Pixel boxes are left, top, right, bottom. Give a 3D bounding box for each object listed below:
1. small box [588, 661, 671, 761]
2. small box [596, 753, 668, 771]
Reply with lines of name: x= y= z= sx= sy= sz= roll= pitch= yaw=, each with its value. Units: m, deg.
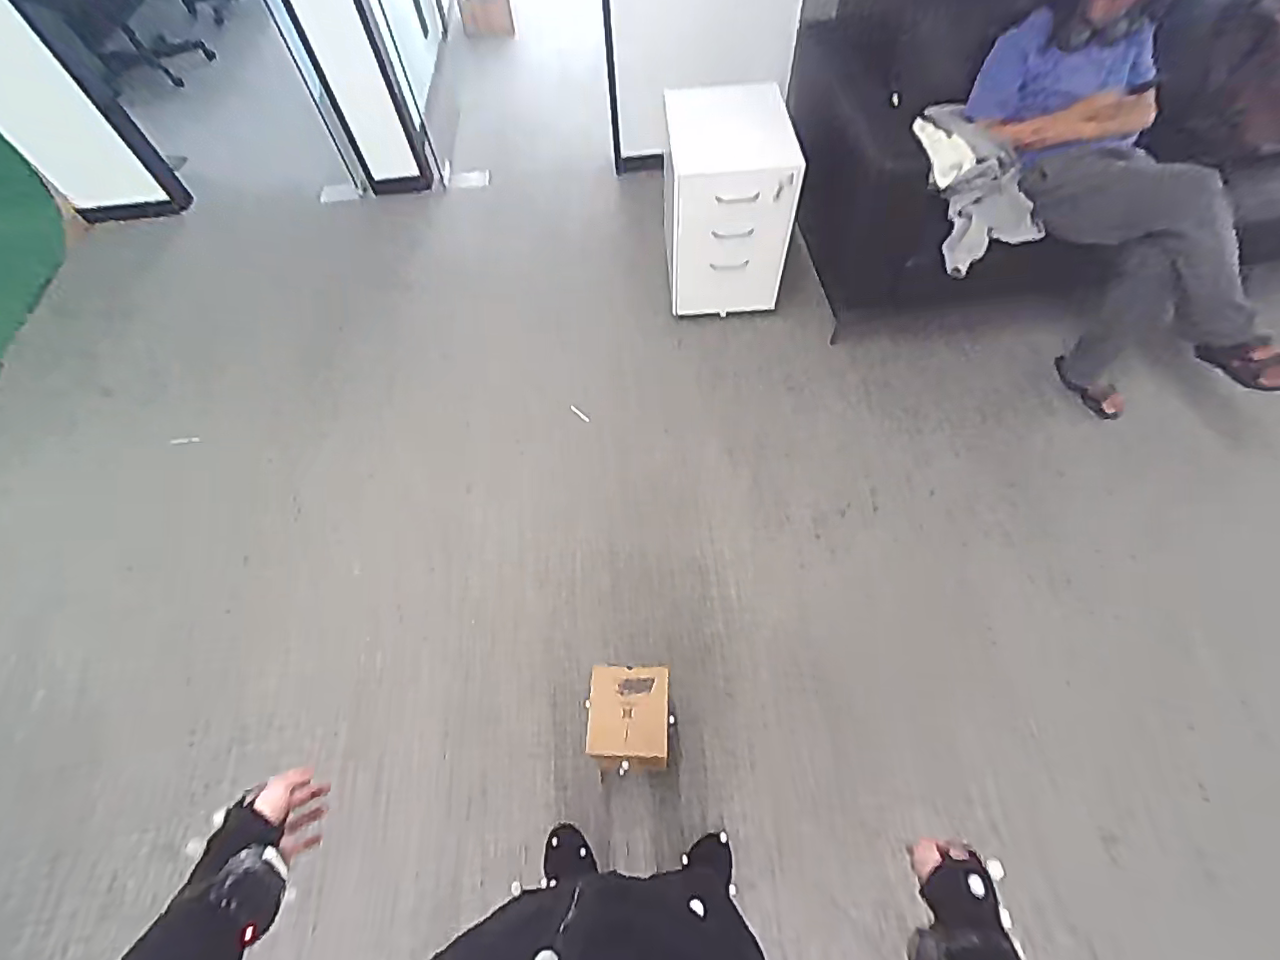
small box: x=-0.018 y=0.512 z=1.192 sx=0.168 sy=0.176 sz=0.179 roll=2 pitch=59 yaw=3
small box: x=-0.015 y=0.606 z=1.328 sx=0.168 sy=0.176 sz=0.179 roll=1 pitch=58 yaw=2
